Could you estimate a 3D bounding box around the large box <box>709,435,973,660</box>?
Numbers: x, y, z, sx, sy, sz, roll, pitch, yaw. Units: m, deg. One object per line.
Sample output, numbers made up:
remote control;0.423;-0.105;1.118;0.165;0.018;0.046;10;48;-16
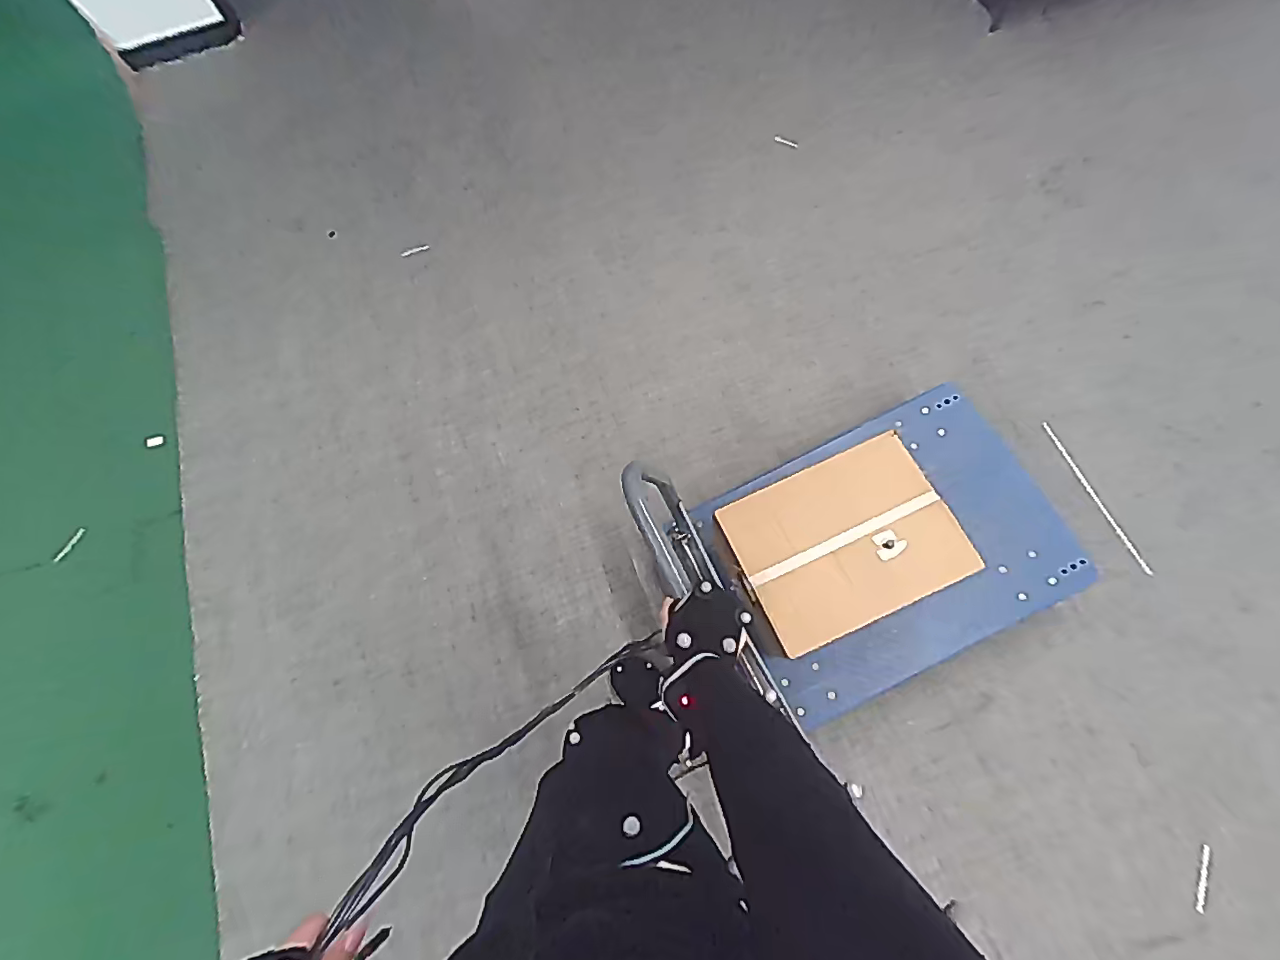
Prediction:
large box;0.397;0.166;1.185;0.408;0.320;0.320;-24;72;-3
